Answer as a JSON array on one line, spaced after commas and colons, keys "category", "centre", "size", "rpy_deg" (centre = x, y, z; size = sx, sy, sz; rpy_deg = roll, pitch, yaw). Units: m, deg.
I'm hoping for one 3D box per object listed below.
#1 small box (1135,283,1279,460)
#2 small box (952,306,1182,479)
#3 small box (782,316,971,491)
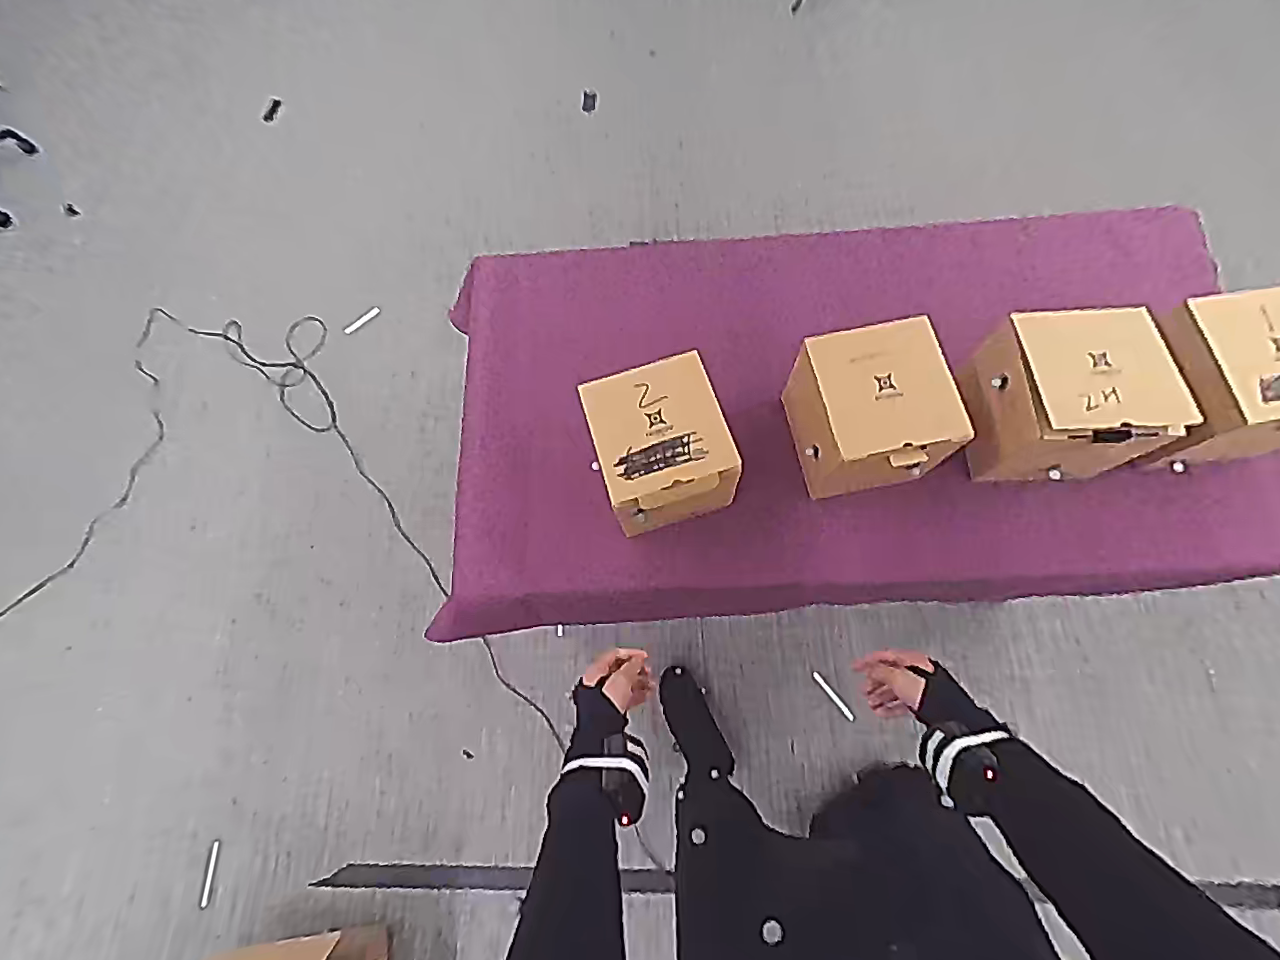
[{"category": "small box", "centre": [0.774, -0.134, 0.727], "size": [0.168, 0.176, 0.179], "rpy_deg": [-8, 71, 2]}, {"category": "small box", "centre": [0.555, -0.111, 0.735], "size": [0.168, 0.176, 0.179], "rpy_deg": [-2, 72, 4]}, {"category": "small box", "centre": [0.309, -0.093, 0.749], "size": [0.168, 0.176, 0.179], "rpy_deg": [-11, 71, 0]}]
